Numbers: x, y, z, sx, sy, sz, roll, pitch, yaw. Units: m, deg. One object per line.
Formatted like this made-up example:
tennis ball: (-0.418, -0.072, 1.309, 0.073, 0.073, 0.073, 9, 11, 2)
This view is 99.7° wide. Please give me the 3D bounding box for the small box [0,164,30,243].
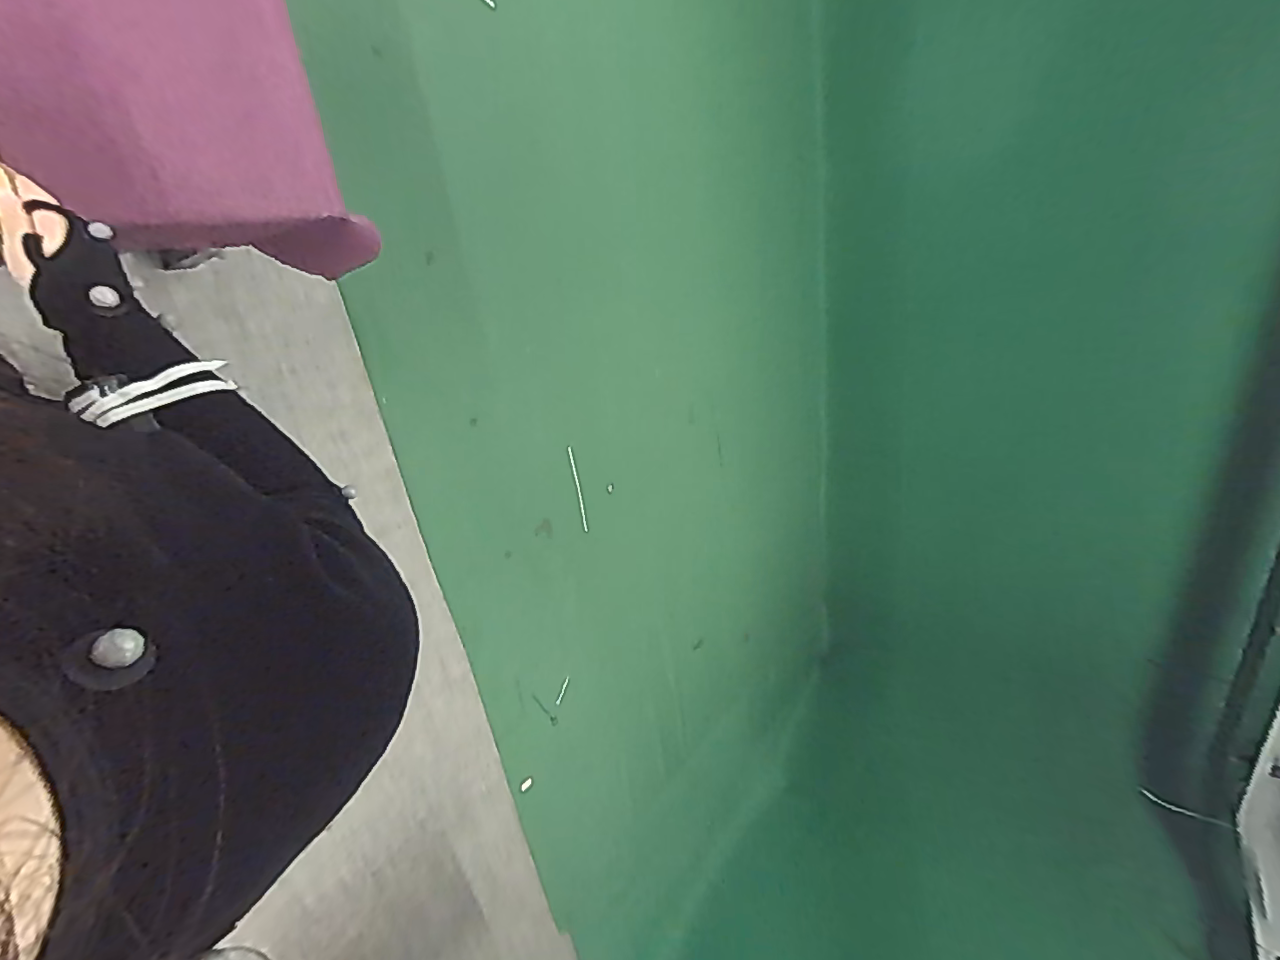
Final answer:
small box: (-0.592, -0.246, 0.370, 0.168, 0.176, 0.179, -39, 126, -48)
